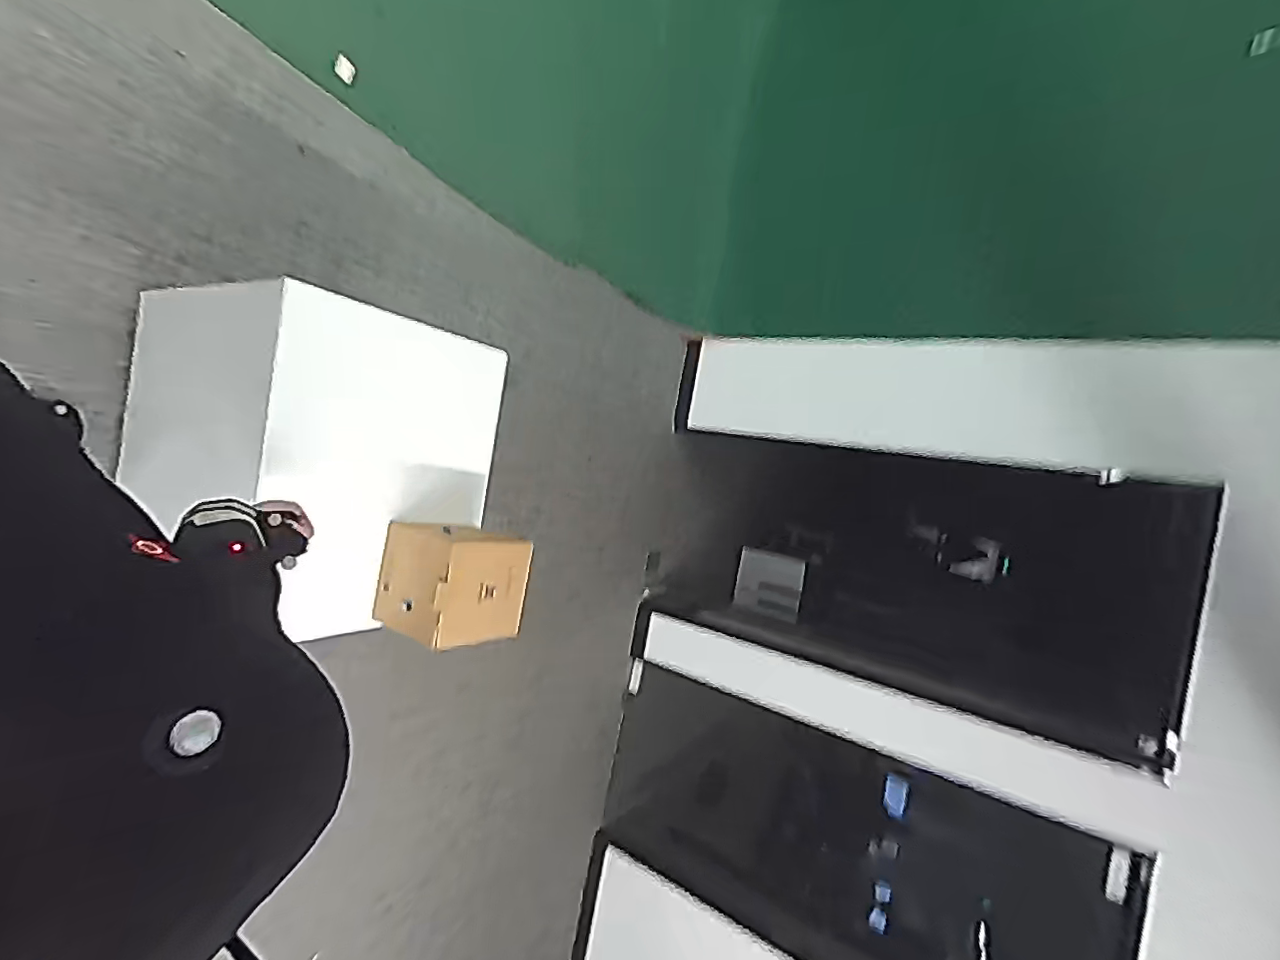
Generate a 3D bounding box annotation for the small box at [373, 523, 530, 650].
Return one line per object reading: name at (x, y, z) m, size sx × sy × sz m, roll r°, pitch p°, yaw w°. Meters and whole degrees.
small box at (-0.319, 0.171, 0.917) m, size 0.179 × 0.176 × 0.168 m, roll 12°, pitch 89°, yaw -58°
